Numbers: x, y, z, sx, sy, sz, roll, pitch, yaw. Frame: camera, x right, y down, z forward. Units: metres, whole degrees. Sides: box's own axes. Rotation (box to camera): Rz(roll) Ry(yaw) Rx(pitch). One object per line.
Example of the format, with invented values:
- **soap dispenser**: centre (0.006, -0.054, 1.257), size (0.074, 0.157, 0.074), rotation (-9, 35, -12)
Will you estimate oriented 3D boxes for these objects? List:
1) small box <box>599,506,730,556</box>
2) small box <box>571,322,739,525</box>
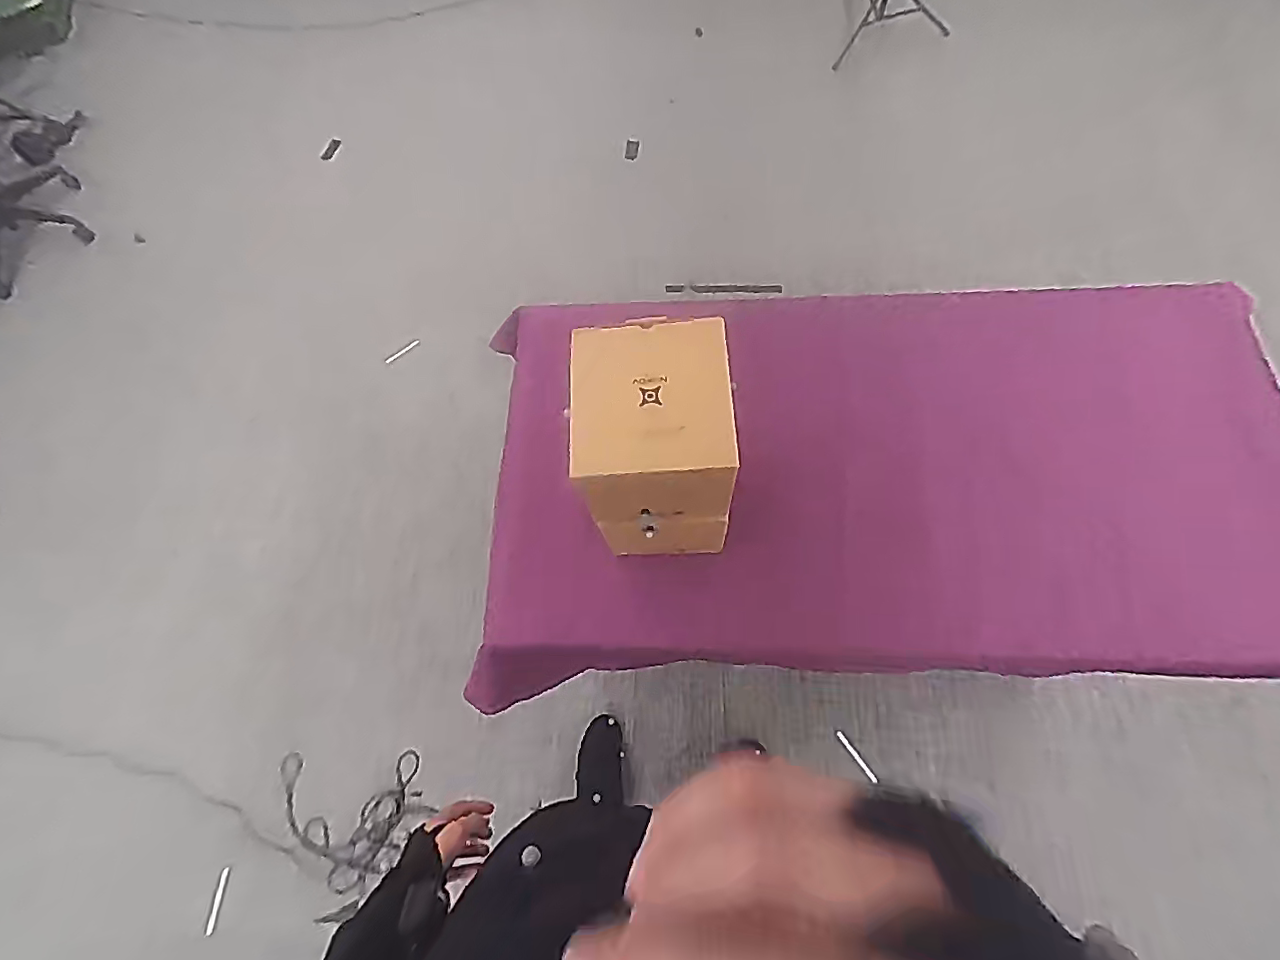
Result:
- **small box**: centre (0.037, 0.004, 0.775), size (0.168, 0.176, 0.179), rotation (-1, 69, 5)
- **small box**: centre (0.019, -0.057, 0.624), size (0.168, 0.176, 0.179), rotation (-3, 69, 4)
